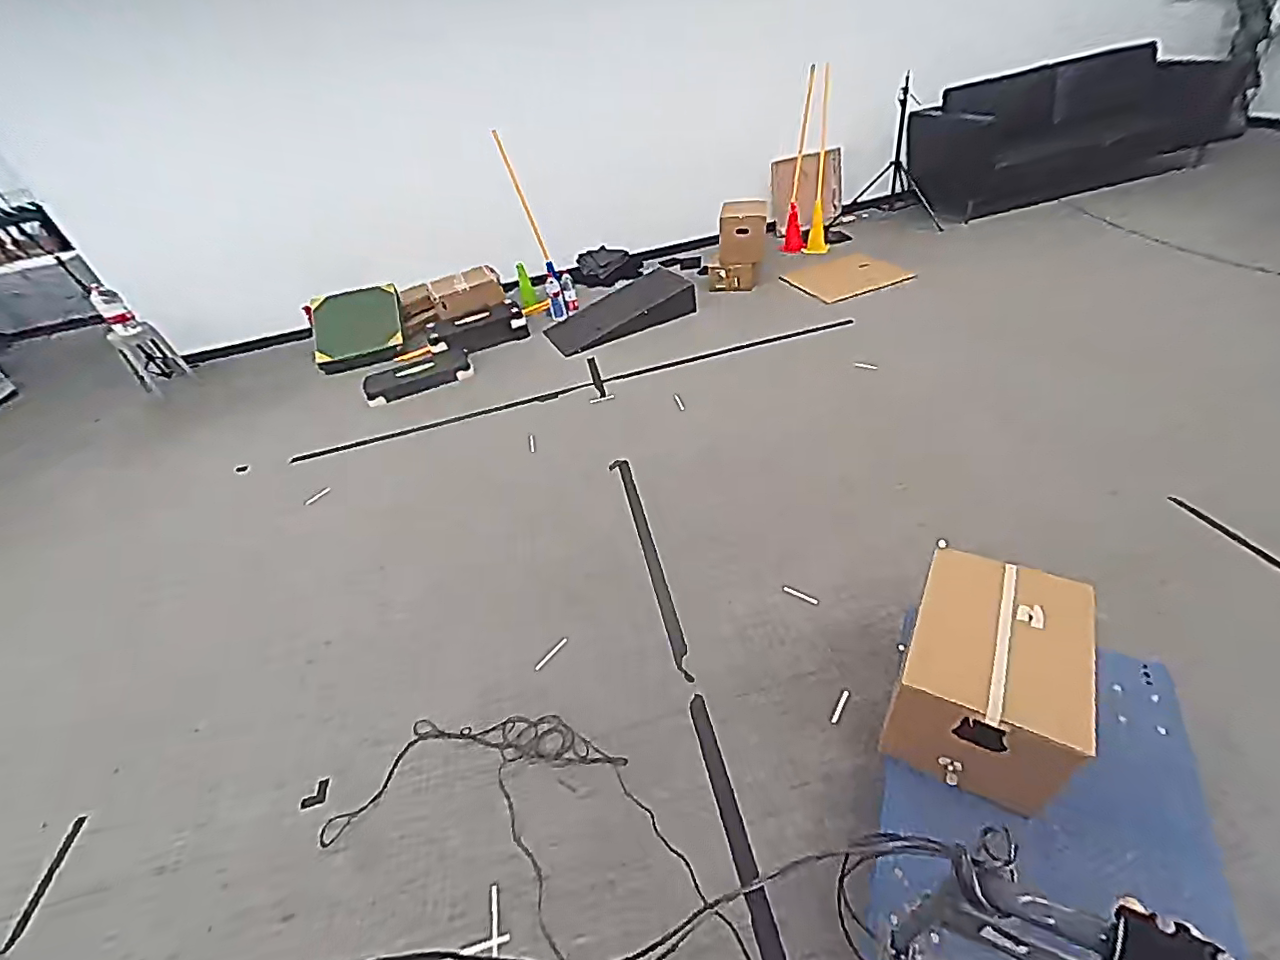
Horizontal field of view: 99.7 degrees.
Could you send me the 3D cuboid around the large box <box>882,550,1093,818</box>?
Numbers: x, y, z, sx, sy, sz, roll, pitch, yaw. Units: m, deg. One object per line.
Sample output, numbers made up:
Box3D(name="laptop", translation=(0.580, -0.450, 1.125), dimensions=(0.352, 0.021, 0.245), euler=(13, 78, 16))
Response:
Box3D(name="large box", translation=(0.757, 0.435, 1.206), dimensions=(0.320, 0.320, 0.408), euler=(16, 45, 27))
